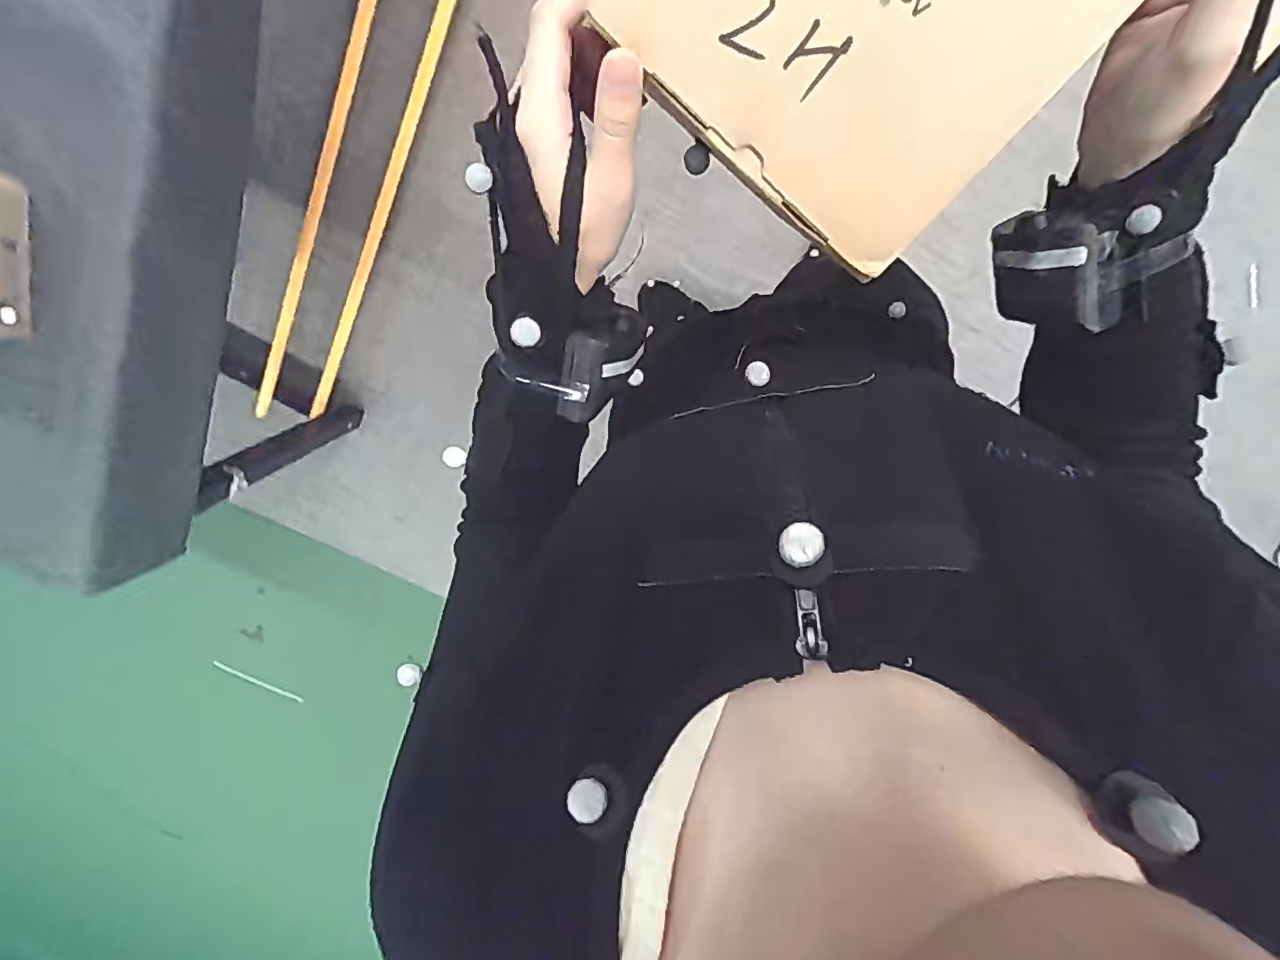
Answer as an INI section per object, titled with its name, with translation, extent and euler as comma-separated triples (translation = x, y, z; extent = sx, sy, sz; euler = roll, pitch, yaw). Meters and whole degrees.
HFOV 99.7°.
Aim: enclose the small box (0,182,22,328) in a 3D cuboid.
[small box]
translation = -0.745, -0.235, 0.502
extent = 0.179, 0.176, 0.168
euler = 25, 112, -4
